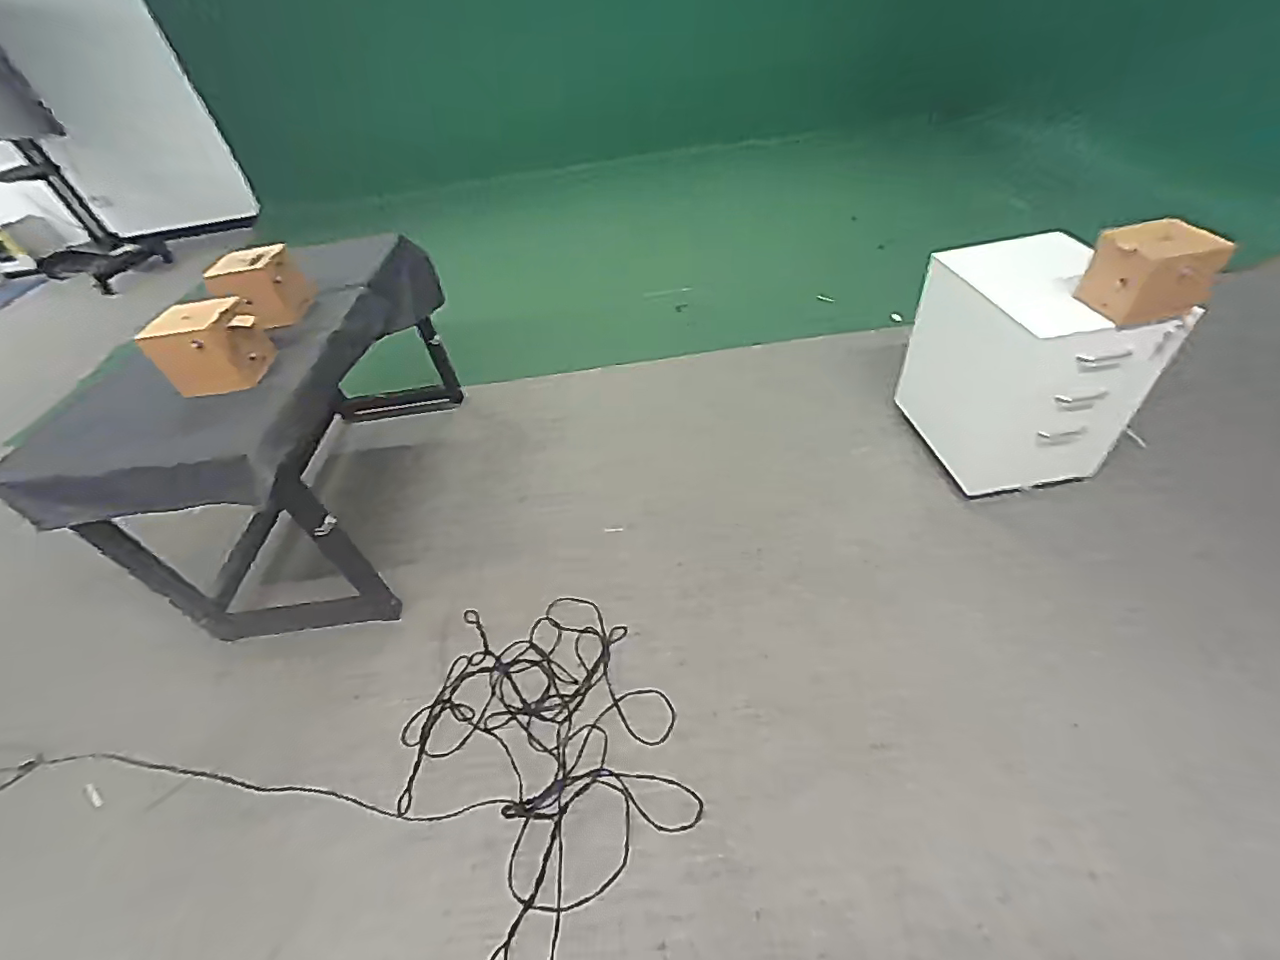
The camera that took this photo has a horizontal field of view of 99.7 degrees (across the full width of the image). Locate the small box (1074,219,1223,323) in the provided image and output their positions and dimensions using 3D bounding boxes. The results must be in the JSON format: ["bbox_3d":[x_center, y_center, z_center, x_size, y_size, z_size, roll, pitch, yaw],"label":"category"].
[{"bbox_3d":[1.180,-0.491,1.280,0.179,0.176,0.168,-10,45,-1],"label":"small box"}]

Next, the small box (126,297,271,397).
[{"bbox_3d":[-1.054,-0.318,1.310,0.179,0.176,0.168,-8,44,2],"label":"small box"}]
